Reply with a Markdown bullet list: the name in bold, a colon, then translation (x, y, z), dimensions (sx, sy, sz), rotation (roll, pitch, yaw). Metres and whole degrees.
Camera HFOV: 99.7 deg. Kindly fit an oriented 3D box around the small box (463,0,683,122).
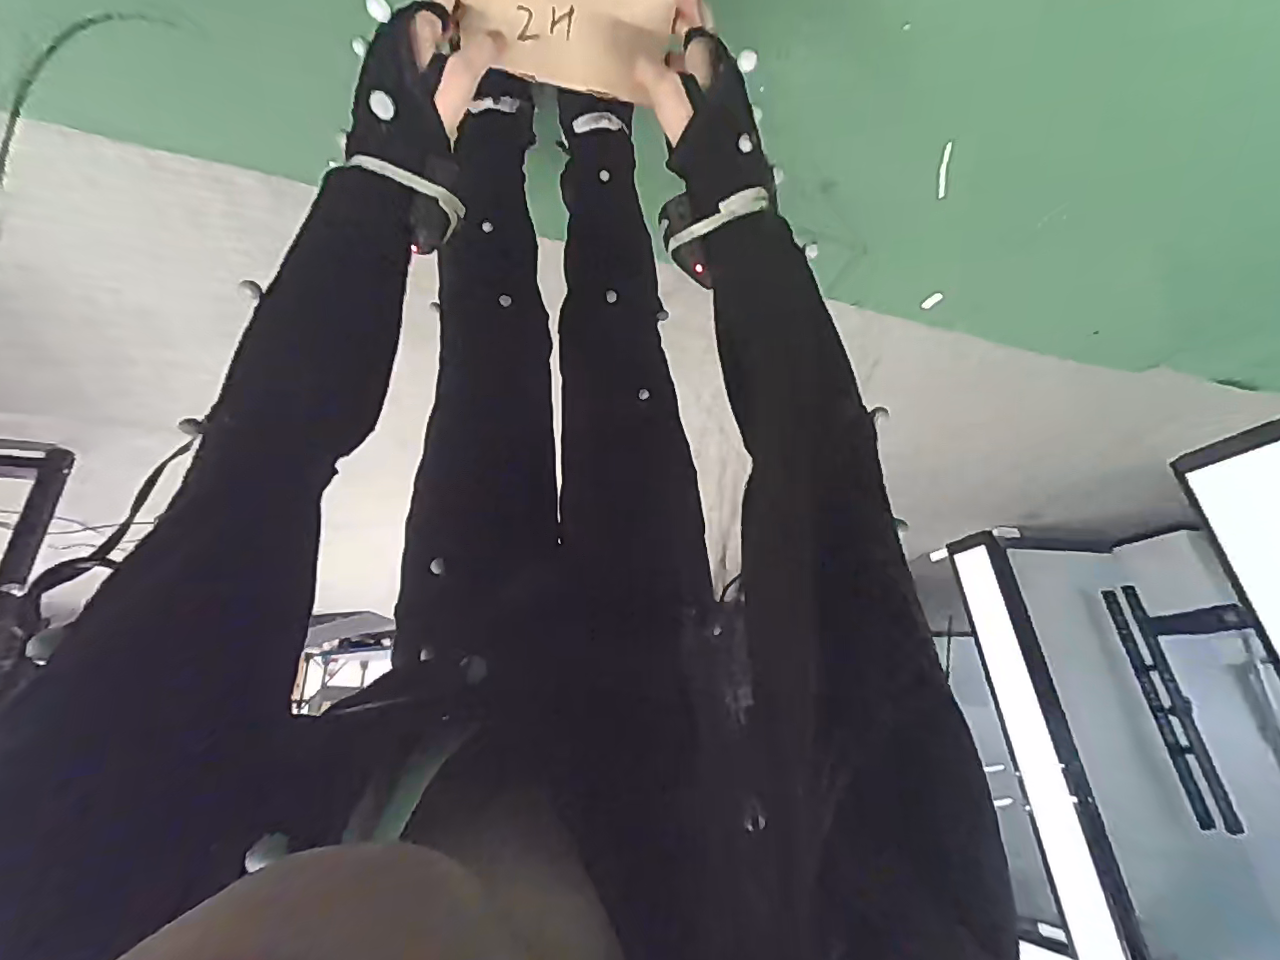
- **small box**: translation (-0.051, -0.442, 0.445), dimensions (0.168, 0.176, 0.179), rotation (6, 143, -13)
